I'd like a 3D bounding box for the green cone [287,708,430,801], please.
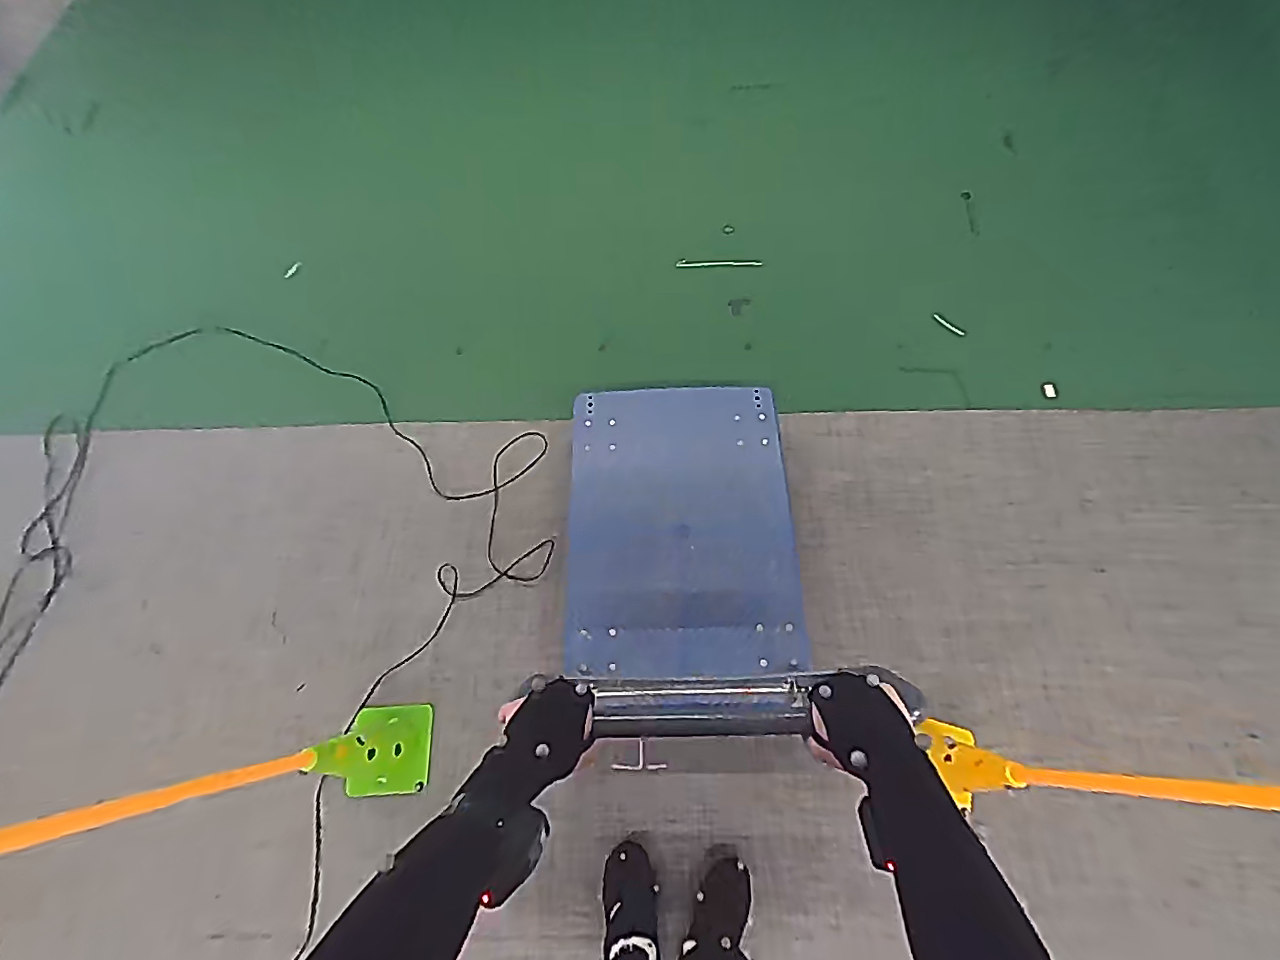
[{"bbox_3d":[-0.641,0.613,1.199,0.202,0.368,0.200,-6,65,2],"label":"green cone"}]
